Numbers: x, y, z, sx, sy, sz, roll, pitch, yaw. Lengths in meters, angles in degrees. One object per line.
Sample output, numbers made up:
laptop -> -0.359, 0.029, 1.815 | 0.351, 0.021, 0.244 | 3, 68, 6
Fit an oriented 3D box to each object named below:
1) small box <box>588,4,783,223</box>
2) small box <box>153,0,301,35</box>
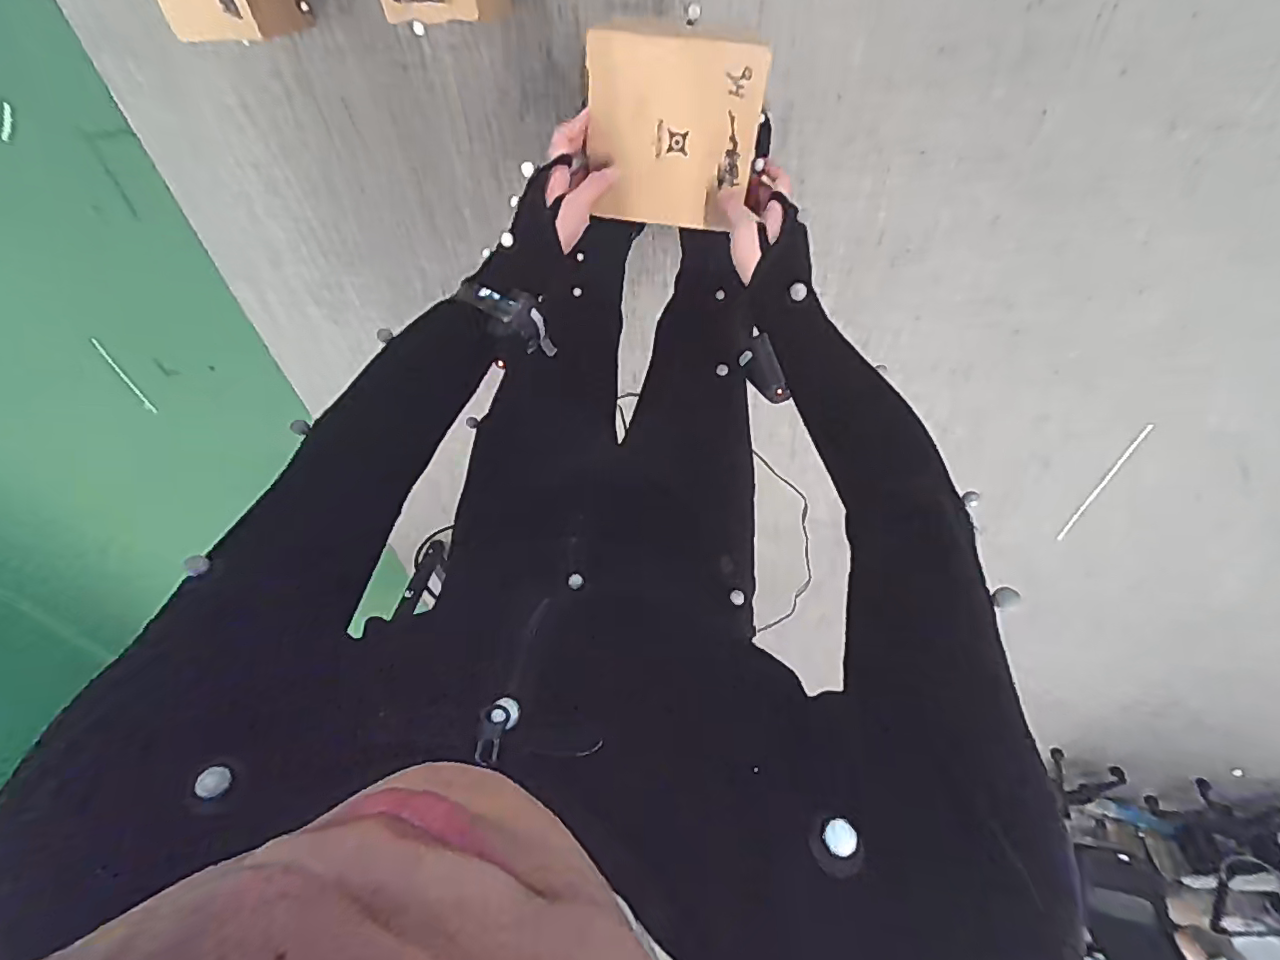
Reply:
small box -> 0.049, -0.404, 0.591 | 0.179, 0.176, 0.168 | 10, 134, 5
small box -> -0.729, -0.887, 0.933 | 0.179, 0.176, 0.168 | 6, 136, 8
